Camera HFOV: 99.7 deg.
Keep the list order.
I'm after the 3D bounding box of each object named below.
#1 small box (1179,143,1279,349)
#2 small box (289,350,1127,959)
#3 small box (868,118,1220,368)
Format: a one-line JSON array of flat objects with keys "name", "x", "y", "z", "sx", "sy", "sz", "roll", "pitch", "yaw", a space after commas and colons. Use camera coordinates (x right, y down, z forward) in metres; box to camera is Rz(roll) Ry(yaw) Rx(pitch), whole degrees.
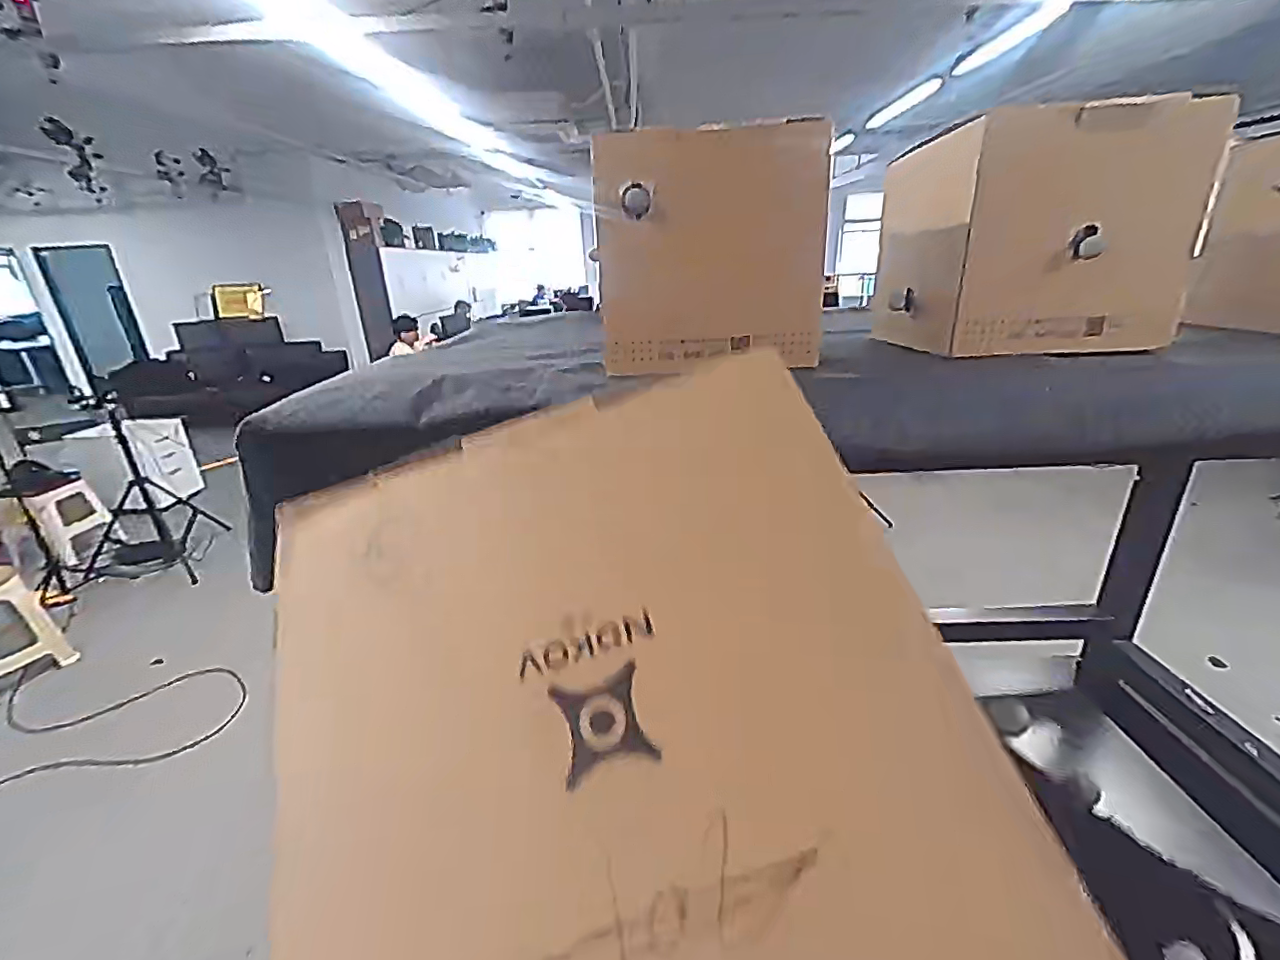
[{"name": "small box", "x": 0.631, "y": -0.201, "z": 0.460, "sx": 0.168, "sy": 0.176, "sz": 0.179, "roll": 0, "pitch": 21, "yaw": 7}, {"name": "small box", "x": 0.002, "y": 0.089, "z": 0.207, "sx": 0.168, "sy": 0.176, "sz": 0.179, "roll": -20, "pitch": 63, "yaw": -2}, {"name": "small box", "x": 0.317, "y": -0.192, "z": 0.473, "sx": 0.168, "sy": 0.176, "sz": 0.179, "roll": -1, "pitch": 20, "yaw": 1}]
